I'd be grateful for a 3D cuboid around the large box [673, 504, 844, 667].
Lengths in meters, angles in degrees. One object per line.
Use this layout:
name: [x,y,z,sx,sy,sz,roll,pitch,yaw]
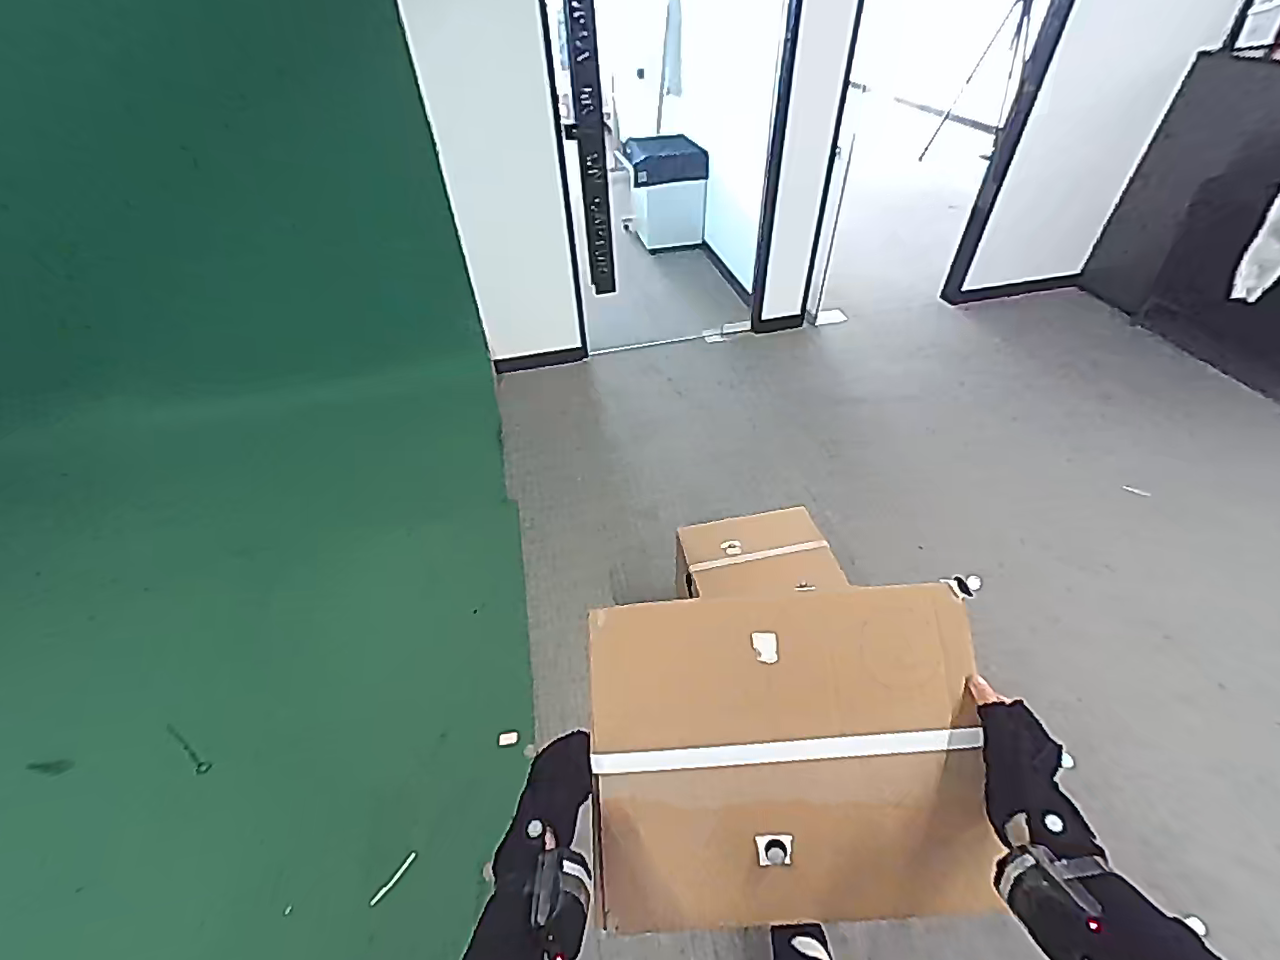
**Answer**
large box: [0.329,0.316,1.619,0.408,0.320,0.320,-10,45,-6]
